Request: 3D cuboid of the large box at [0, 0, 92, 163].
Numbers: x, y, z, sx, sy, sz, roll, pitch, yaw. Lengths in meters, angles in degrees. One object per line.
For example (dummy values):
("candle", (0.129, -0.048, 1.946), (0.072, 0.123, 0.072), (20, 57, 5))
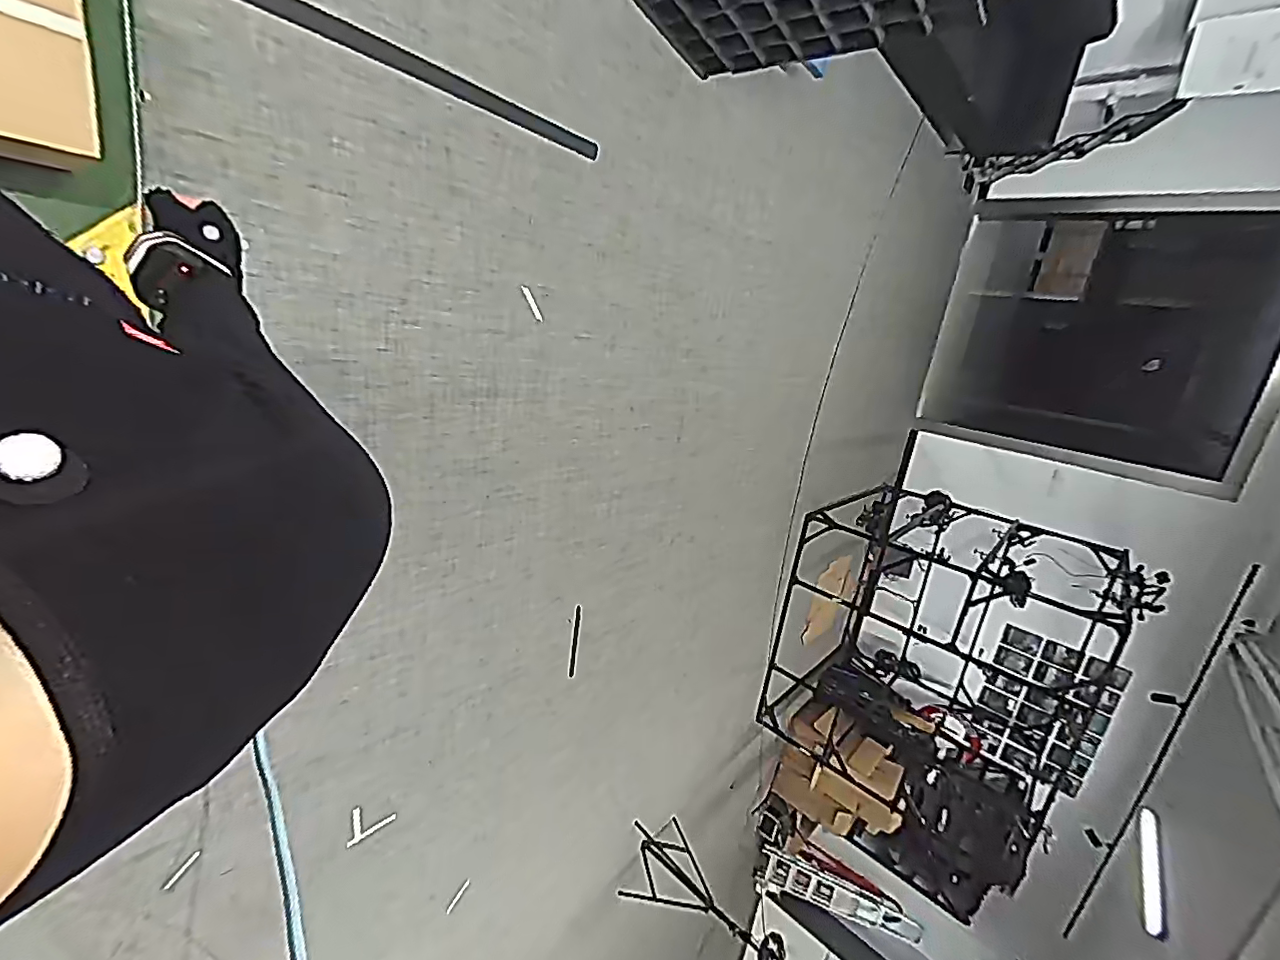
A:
("large box", (-1.026, -0.640, 0.689), (0.408, 0.320, 0.320), (-12, 116, -50))
